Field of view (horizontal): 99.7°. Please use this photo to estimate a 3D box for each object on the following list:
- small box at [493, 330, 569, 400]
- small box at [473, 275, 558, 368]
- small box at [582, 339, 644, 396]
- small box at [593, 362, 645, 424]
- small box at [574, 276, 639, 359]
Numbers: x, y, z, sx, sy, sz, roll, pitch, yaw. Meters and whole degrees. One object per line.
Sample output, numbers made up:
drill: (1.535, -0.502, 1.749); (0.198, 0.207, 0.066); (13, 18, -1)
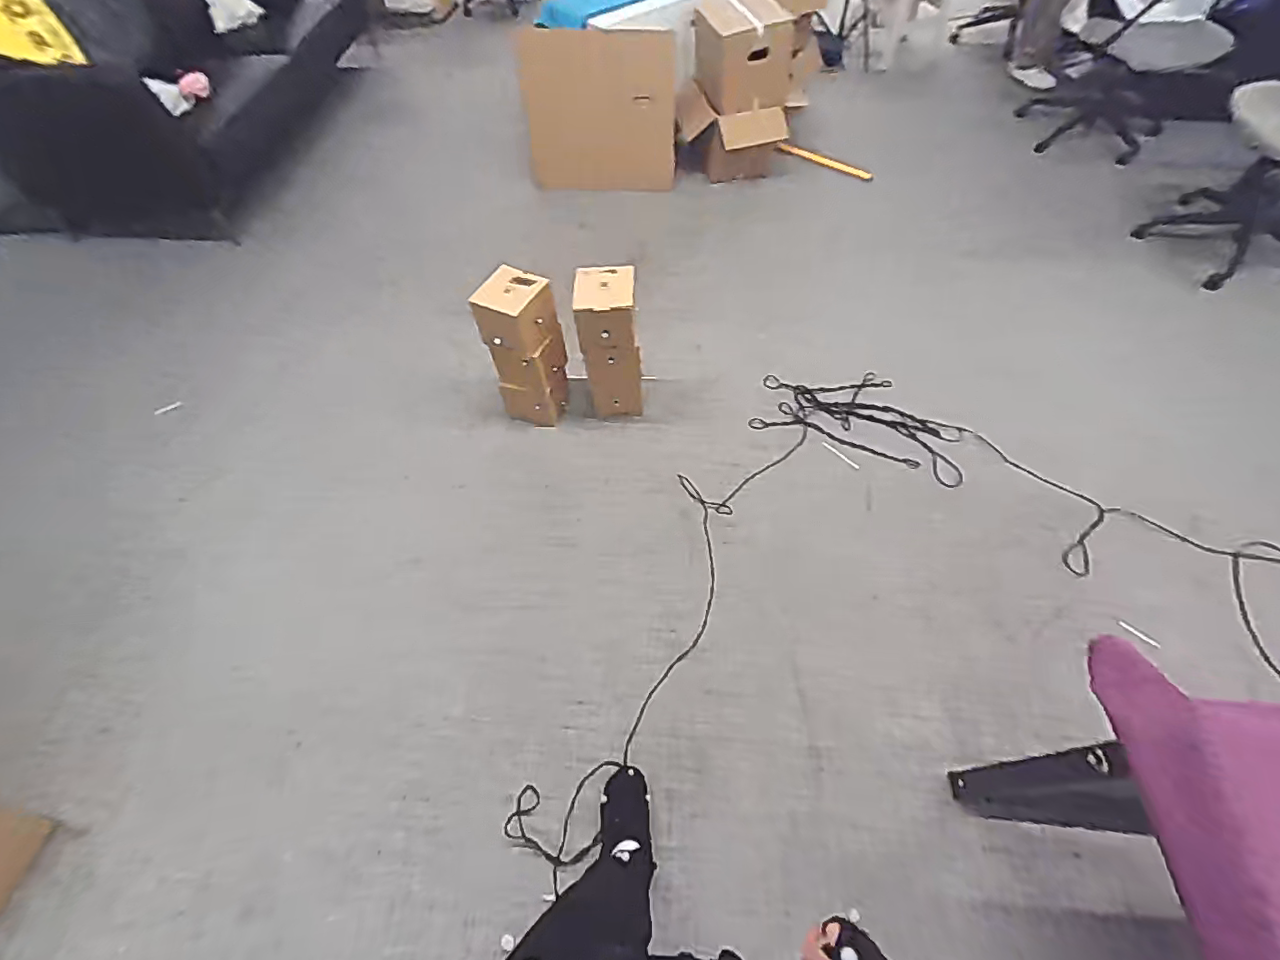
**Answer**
small box: (-0.347, -0.380, 1.734); (0.179, 0.176, 0.168); (18, 58, 14)
small box: (-0.357, -0.465, 1.594); (0.168, 0.176, 0.179); (22, 60, 16)
small box: (-0.086, -0.383, 1.718); (0.179, 0.176, 0.168); (-7, 57, -1)
small box: (-0.070, -0.303, 1.860); (0.168, 0.176, 0.179); (-3, 56, 1)
small box: (-0.091, -0.468, 1.579); (0.168, 0.176, 0.179); (-1, 58, 3)
